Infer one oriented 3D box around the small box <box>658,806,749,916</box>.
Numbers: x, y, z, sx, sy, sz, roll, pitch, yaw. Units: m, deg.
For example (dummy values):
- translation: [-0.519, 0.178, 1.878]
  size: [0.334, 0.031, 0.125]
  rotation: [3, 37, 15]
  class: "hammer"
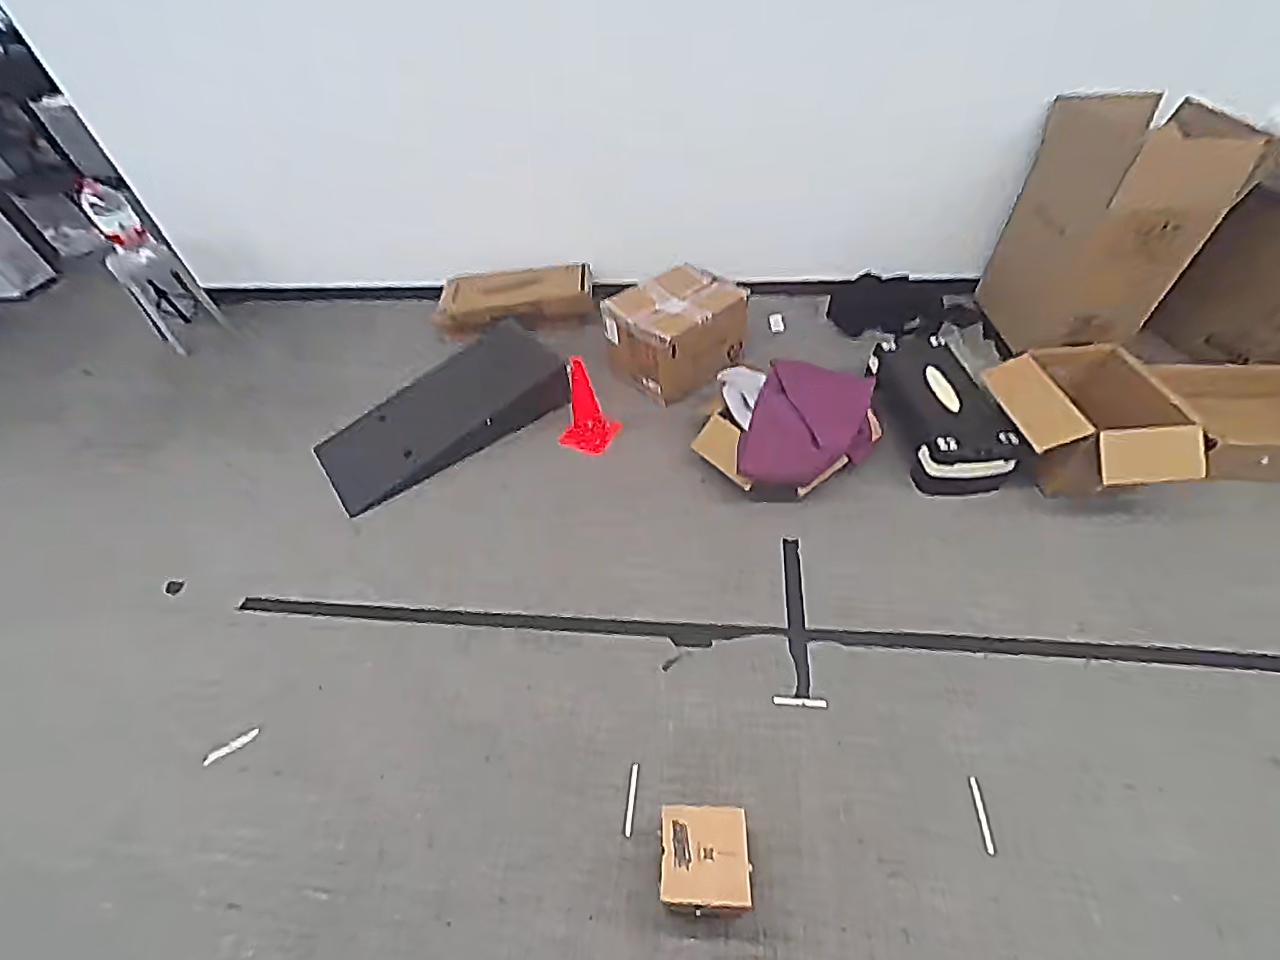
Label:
- translation: [0.132, 0.806, 1.141]
  size: [0.179, 0.176, 0.168]
  rotation: [0, 47, 5]
  class: "small box"
